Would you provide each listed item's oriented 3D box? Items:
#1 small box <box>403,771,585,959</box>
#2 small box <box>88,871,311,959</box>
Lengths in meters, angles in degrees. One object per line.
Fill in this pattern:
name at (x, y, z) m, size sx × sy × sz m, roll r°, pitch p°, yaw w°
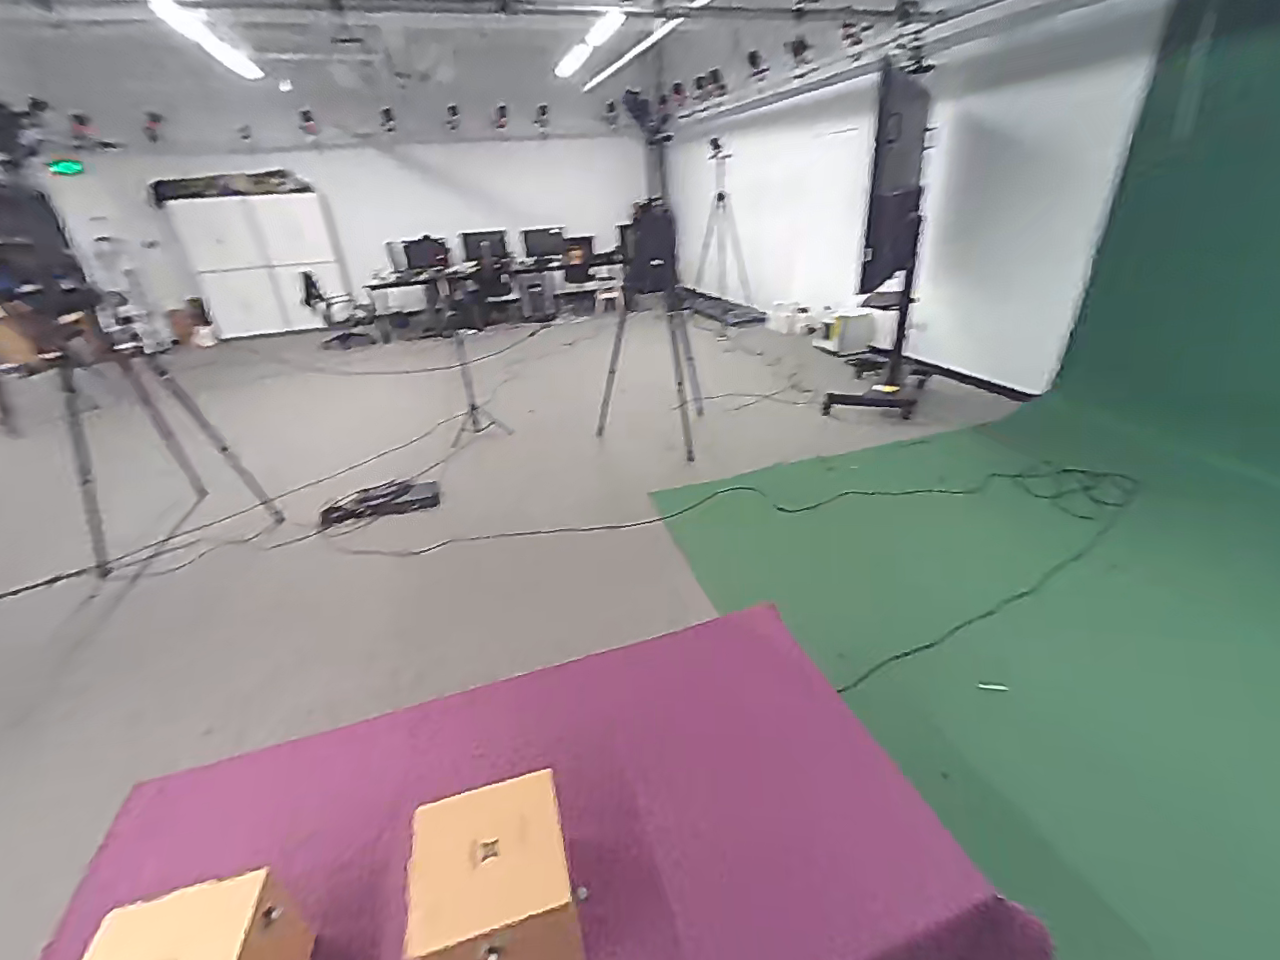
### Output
small box at (-0.175, 0.512, 0.676) m, size 0.179 × 0.176 × 0.168 m, roll -11°, pitch 28°, yaw -12°
small box at (-0.490, 0.585, 0.588) m, size 0.168 × 0.176 × 0.179 m, roll -10°, pitch 27°, yaw -11°
